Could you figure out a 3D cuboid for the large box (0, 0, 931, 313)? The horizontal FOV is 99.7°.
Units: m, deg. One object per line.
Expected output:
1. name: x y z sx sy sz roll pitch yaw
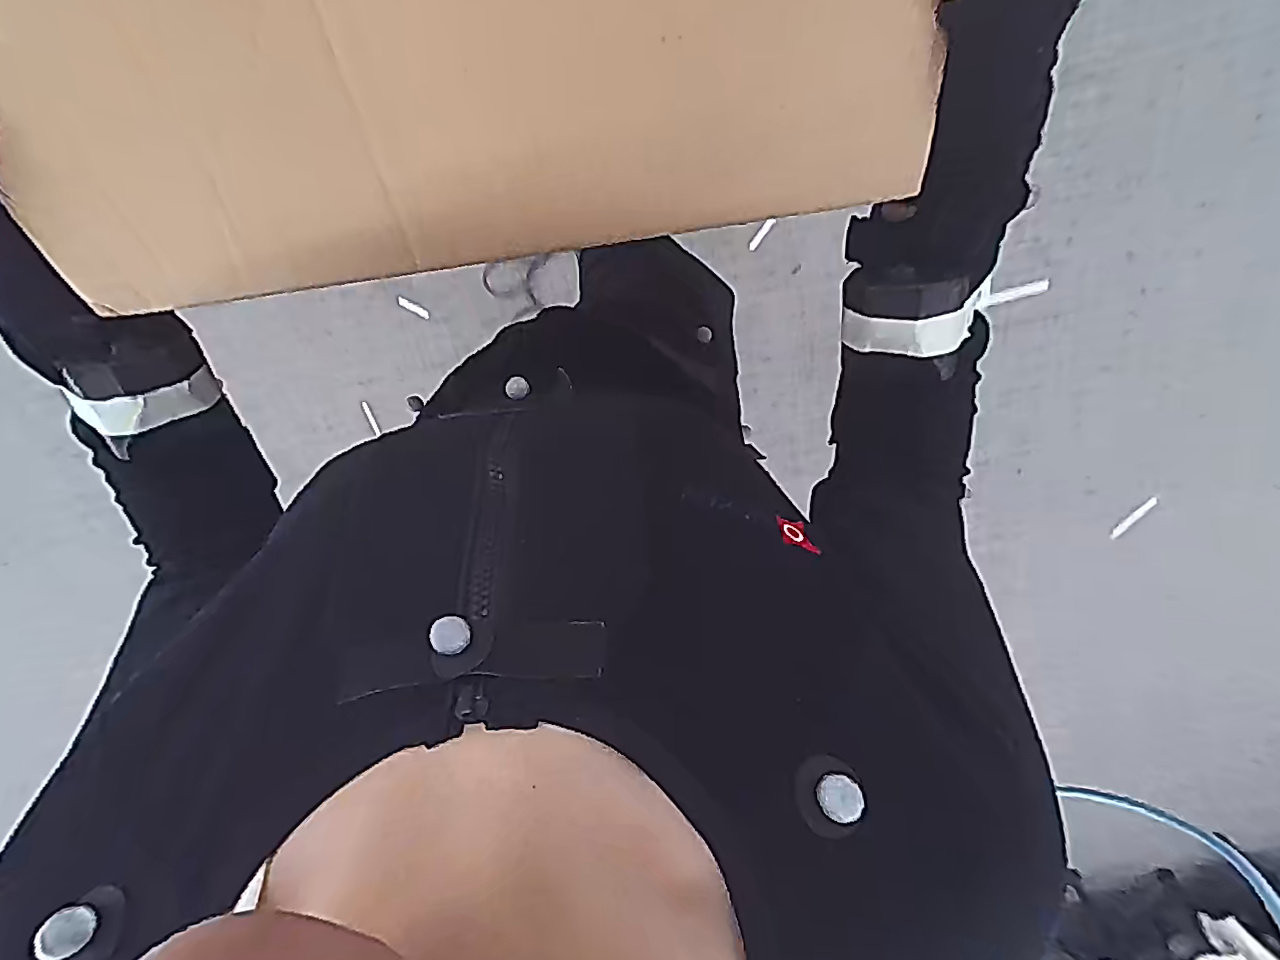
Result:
1. large box: -0.096 -0.325 0.284 0.408 0.320 0.320 -7 130 3
